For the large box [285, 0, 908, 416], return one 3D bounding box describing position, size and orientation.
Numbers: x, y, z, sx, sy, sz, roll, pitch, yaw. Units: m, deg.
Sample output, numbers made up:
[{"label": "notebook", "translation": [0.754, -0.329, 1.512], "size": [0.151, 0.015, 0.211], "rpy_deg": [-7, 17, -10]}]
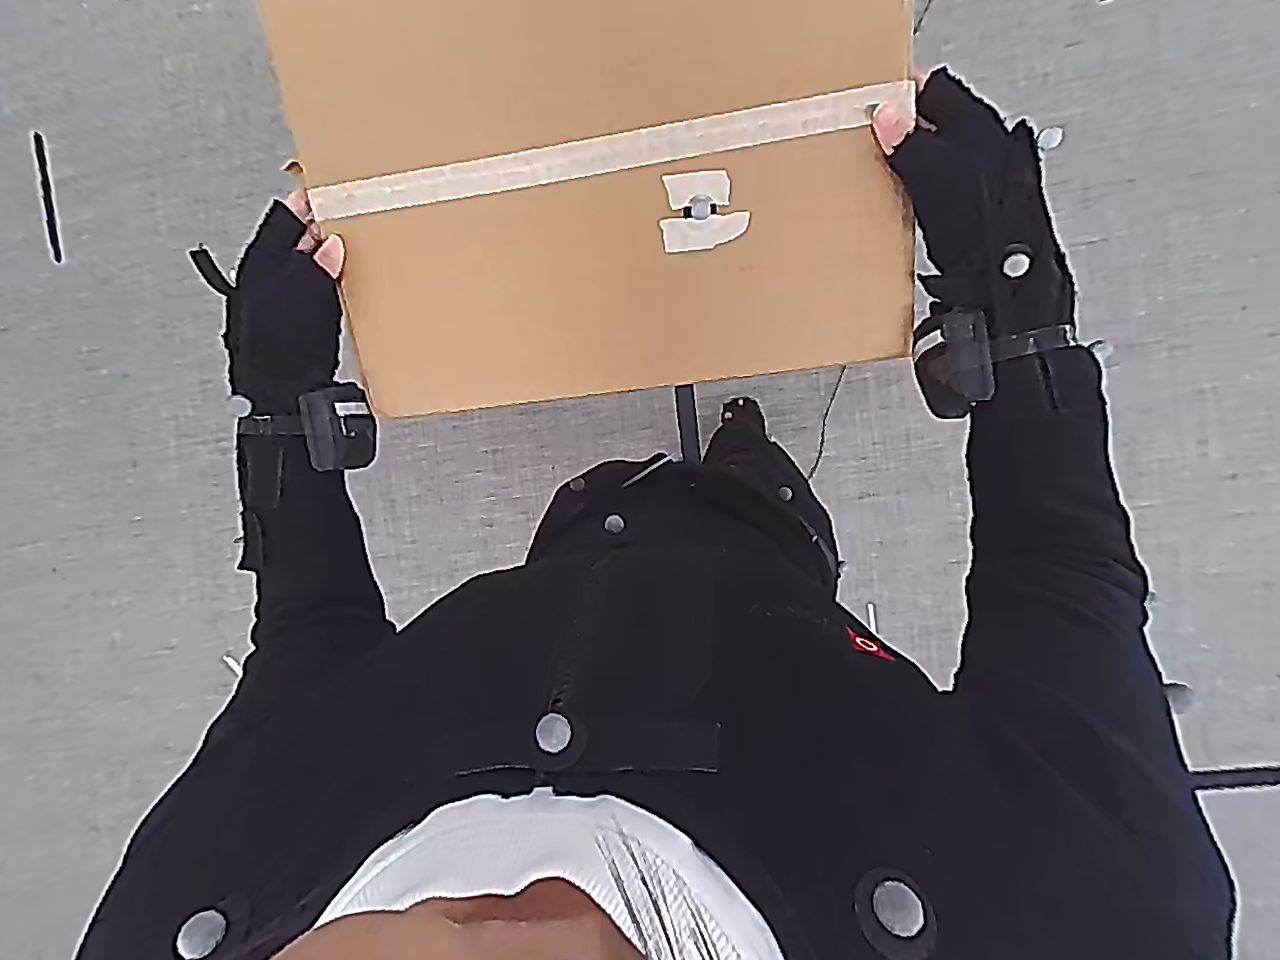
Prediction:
[{"label": "large box", "translation": [-0.015, -0.261, 0.517], "size": [0.408, 0.320, 0.320], "rpy_deg": [-7, 106, 6]}]
